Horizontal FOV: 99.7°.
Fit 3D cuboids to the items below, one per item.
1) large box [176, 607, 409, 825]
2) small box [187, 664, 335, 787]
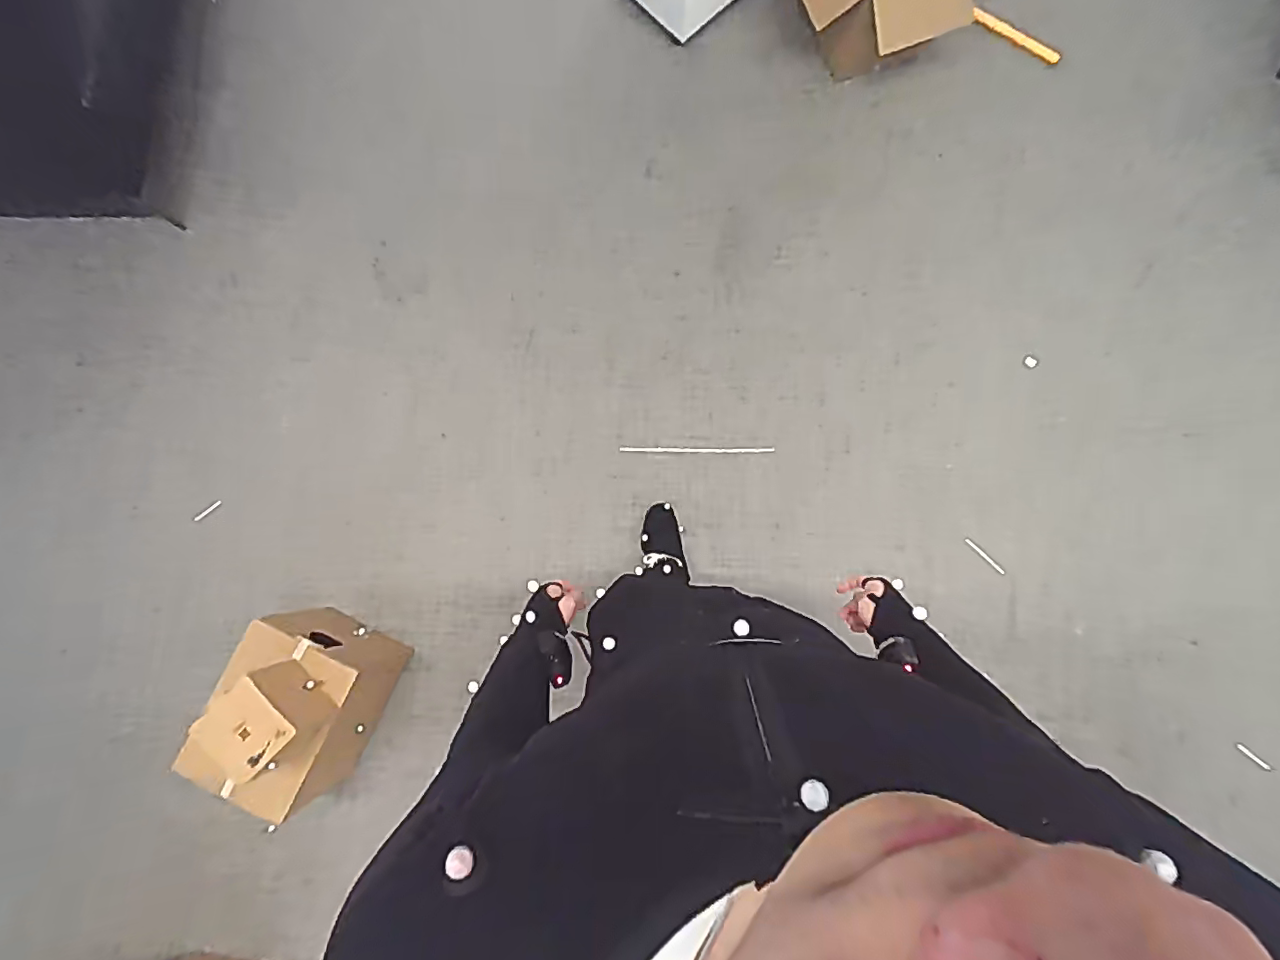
[{"bbox_3d":[-0.904,0.601,1.464,0.320,0.320,0.408,24,84,5],"label":"large box"},{"bbox_3d":[-0.844,0.540,1.222,0.179,0.176,0.168,45,85,6],"label":"small box"}]
